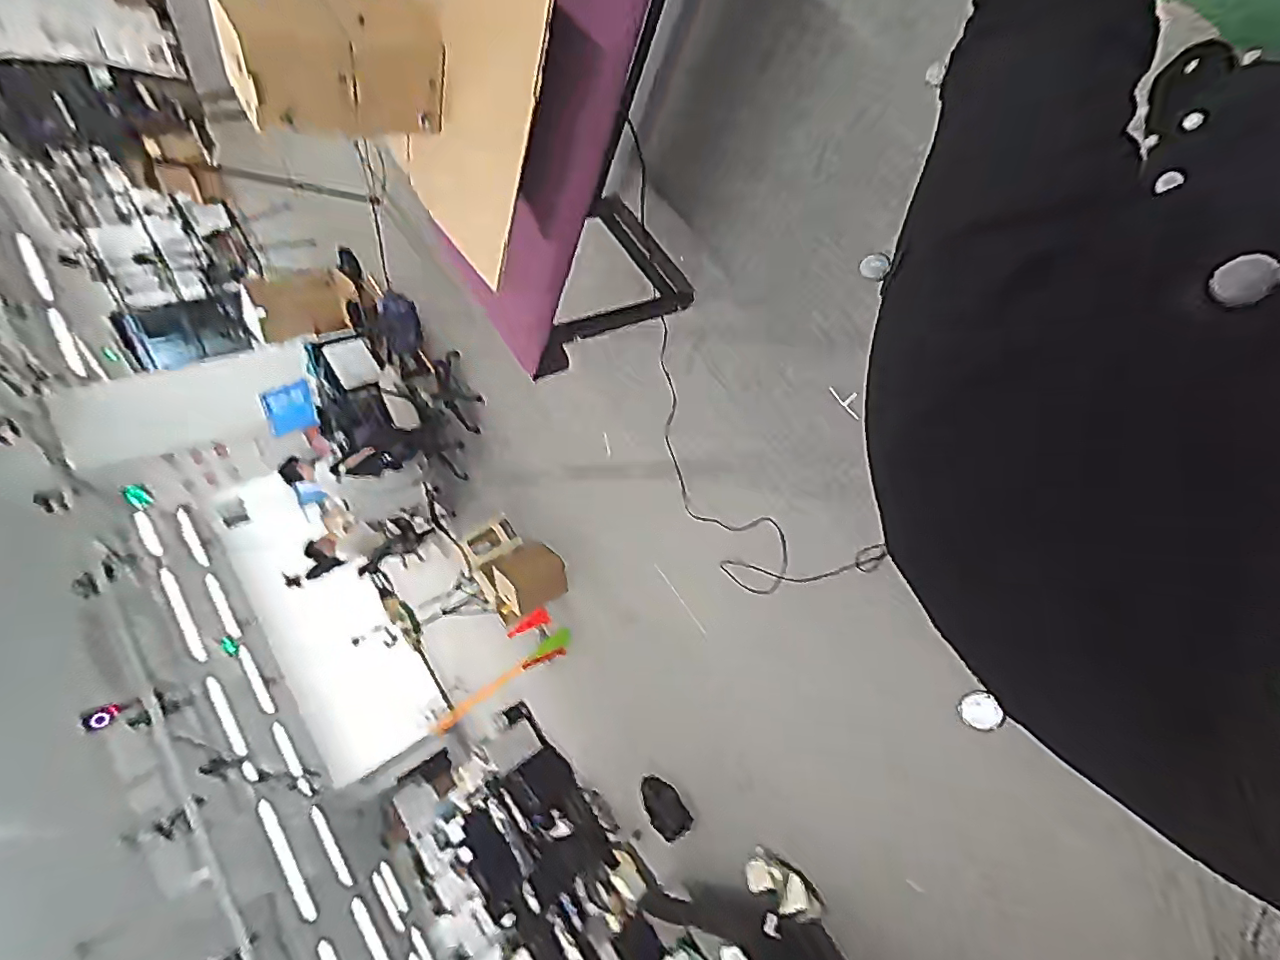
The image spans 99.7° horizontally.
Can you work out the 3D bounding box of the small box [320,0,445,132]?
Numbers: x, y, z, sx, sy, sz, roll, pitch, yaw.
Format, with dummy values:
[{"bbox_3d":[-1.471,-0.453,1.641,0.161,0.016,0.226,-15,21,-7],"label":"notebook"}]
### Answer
[{"bbox_3d":[-0.496,-0.817,1.055,0.179,0.176,0.168,58,147,13],"label":"small box"}]
